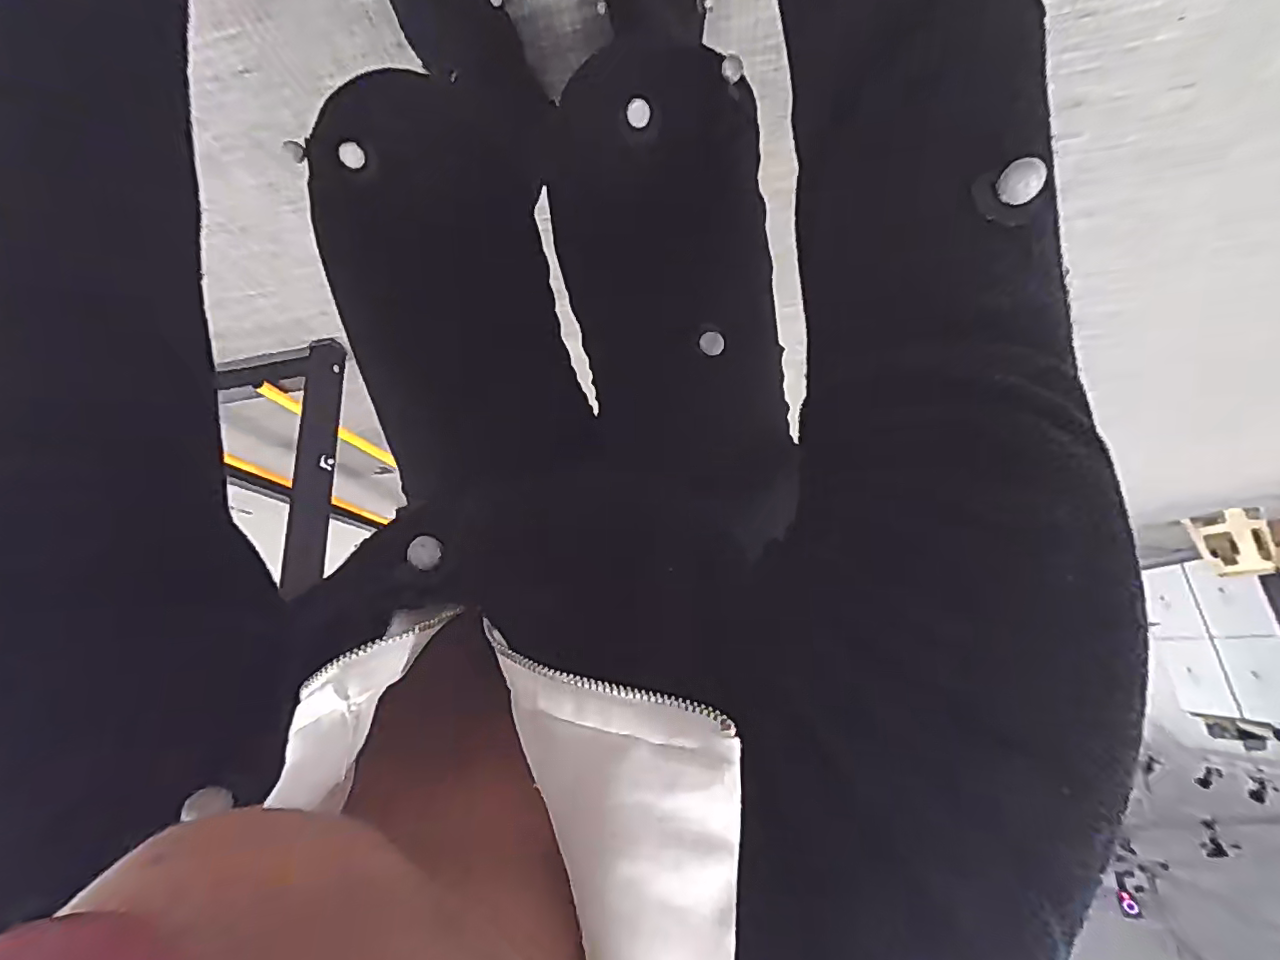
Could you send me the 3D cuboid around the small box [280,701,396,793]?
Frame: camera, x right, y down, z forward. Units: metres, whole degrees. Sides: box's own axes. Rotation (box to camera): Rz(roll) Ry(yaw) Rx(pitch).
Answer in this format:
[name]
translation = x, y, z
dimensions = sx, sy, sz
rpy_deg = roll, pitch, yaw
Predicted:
[small box]
translation = -0.692, 0.615, 1.262
dimensions = 0.168, 0.176, 0.179
rpy_deg = -7, 161, 6
